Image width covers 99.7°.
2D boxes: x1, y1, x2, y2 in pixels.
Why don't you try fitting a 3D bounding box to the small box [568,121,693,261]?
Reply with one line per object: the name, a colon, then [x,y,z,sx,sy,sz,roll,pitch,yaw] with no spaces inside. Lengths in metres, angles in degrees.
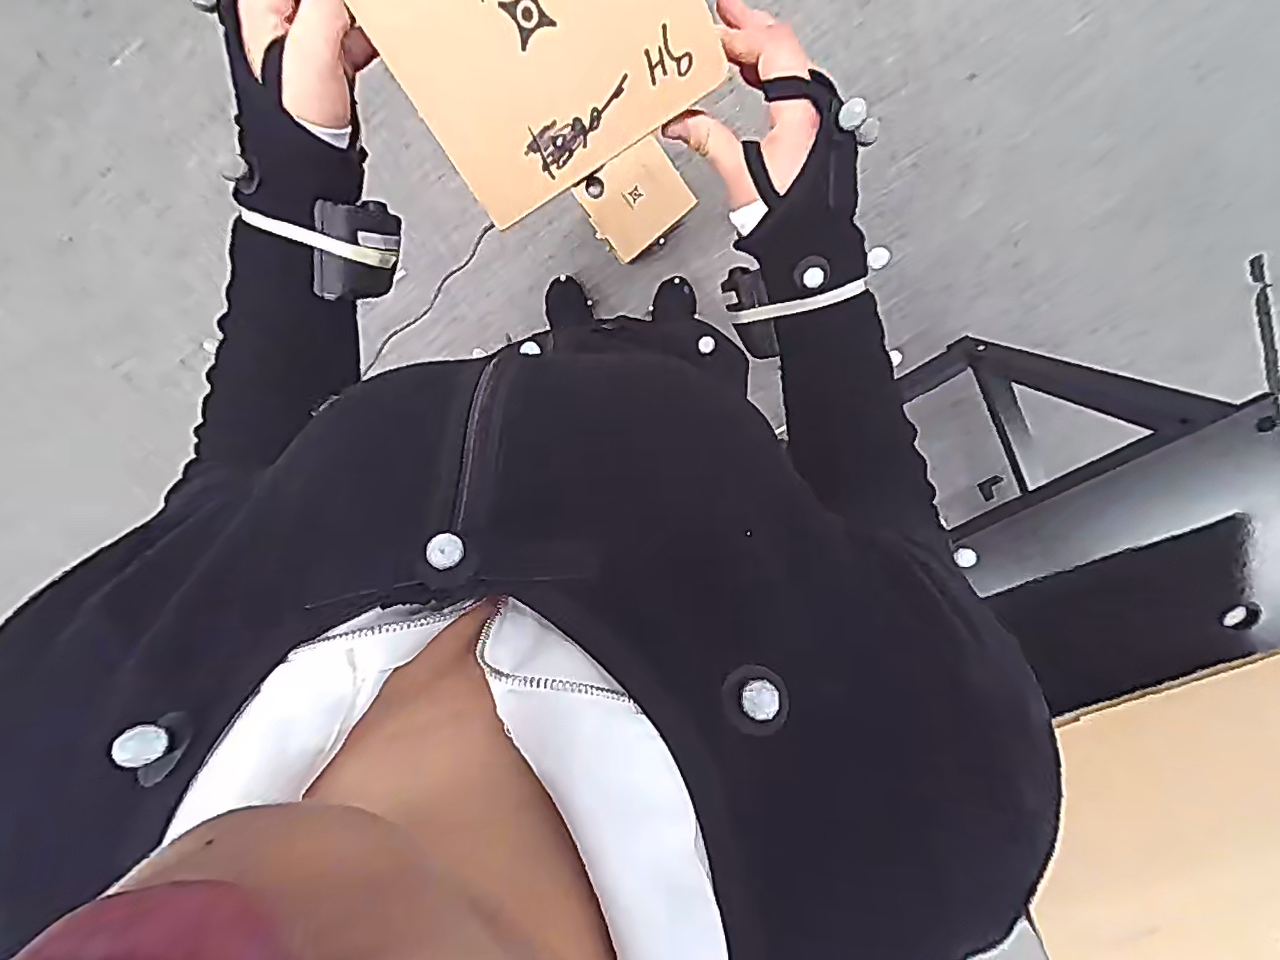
small box: [-0.017,-0.553,1.066,0.179,0.176,0.168,-37,108,13]
